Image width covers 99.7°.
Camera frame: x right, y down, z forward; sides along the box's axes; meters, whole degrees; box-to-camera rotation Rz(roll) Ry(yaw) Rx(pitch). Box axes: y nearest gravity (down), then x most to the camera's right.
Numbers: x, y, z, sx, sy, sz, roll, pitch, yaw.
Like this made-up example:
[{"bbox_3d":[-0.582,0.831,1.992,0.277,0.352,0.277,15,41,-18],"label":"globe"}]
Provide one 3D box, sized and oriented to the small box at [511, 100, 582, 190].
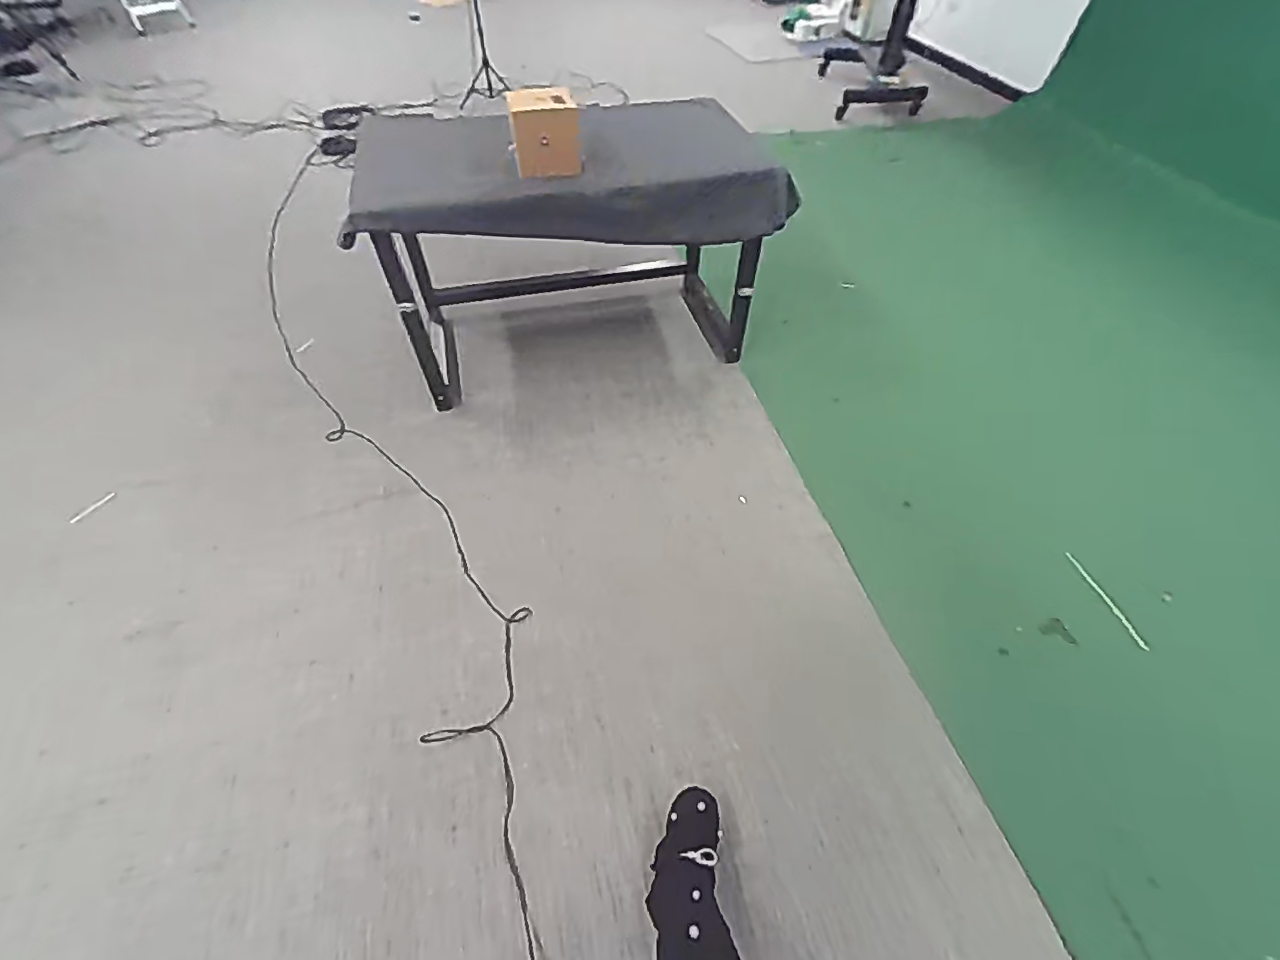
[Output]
[{"bbox_3d":[-0.261,-0.945,1.528,0.179,0.176,0.168,-10,51,-8],"label":"small box"}]
